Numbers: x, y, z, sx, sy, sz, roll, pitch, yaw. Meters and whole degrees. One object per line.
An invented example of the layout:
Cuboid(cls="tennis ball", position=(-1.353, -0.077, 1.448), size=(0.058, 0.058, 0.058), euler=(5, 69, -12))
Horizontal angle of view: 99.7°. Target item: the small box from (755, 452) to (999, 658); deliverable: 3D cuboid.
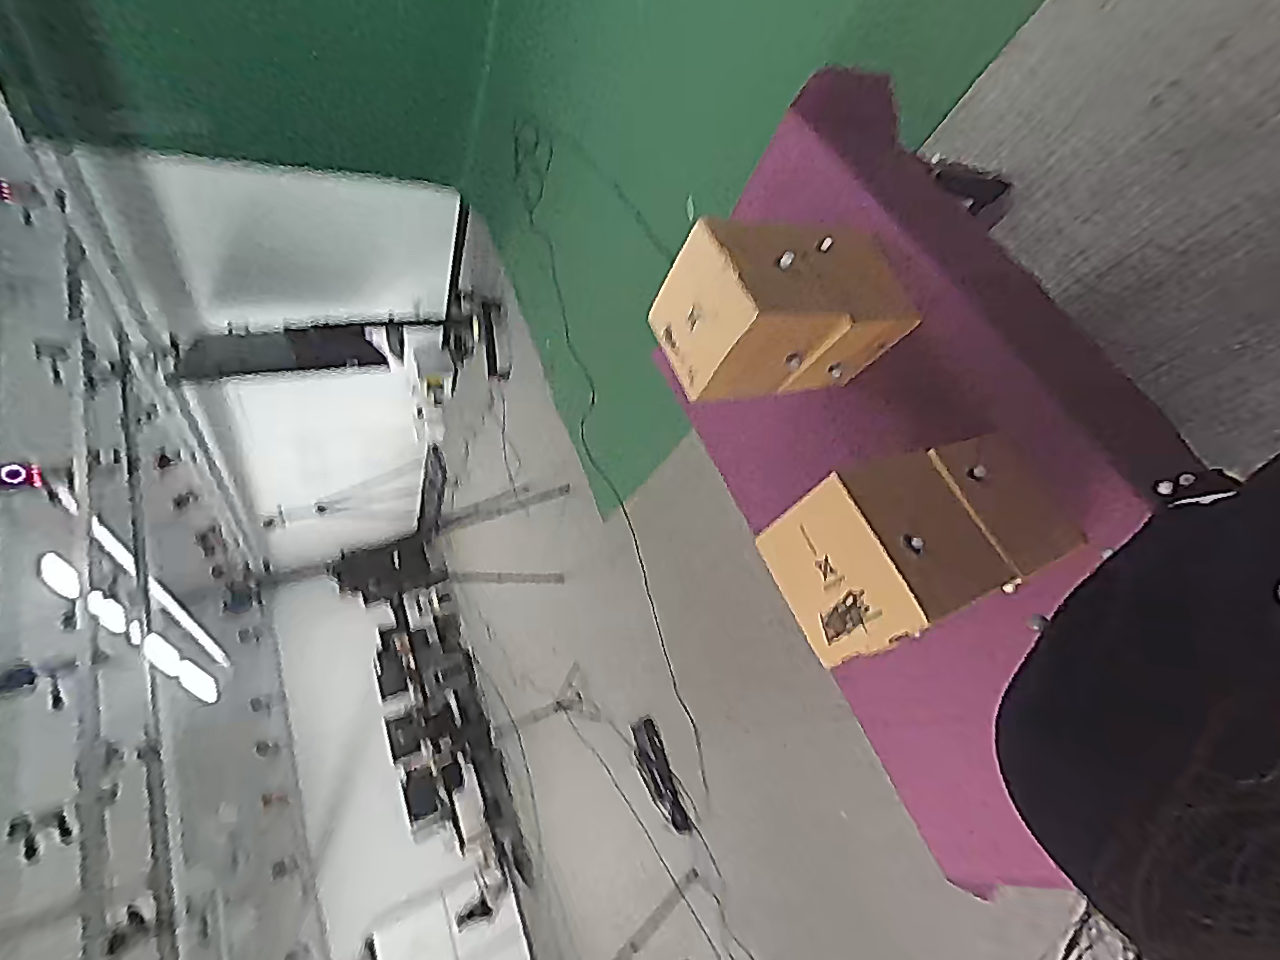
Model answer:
Cuboid(cls="small box", position=(0.280, 0.086, 0.653), size=(0.179, 0.176, 0.168), euler=(65, 146, 23))

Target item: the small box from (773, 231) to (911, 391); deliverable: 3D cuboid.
Cuboid(cls="small box", position=(0.283, -0.264, 0.851), size=(0.168, 0.176, 0.179), euler=(-47, 60, 54))

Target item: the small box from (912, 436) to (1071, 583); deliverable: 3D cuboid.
Cuboid(cls="small box", position=(0.421, 0.053, 0.732), size=(0.179, 0.176, 0.168), euler=(66, 148, 19))

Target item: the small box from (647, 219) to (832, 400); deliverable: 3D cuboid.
Cuboid(cls="small box", position=(0.143, -0.237, 0.768), size=(0.179, 0.176, 0.168), euler=(-51, 57, 52))
